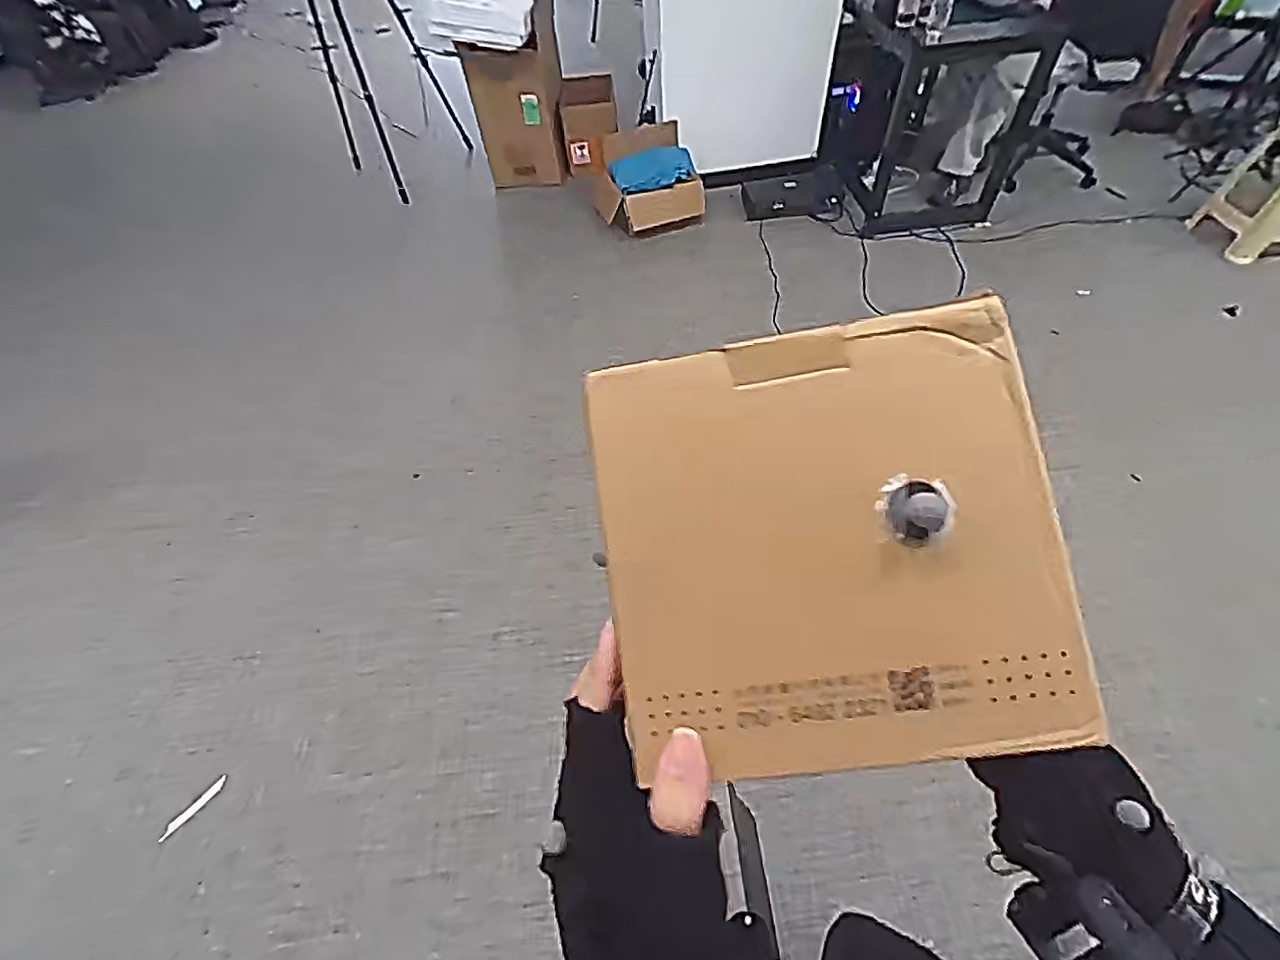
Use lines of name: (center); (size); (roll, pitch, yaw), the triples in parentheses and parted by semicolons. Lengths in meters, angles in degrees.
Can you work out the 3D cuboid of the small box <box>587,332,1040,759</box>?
small box: (0.082, 0.042, 0.305); (0.168, 0.179, 0.176); (-10, 83, 10)
